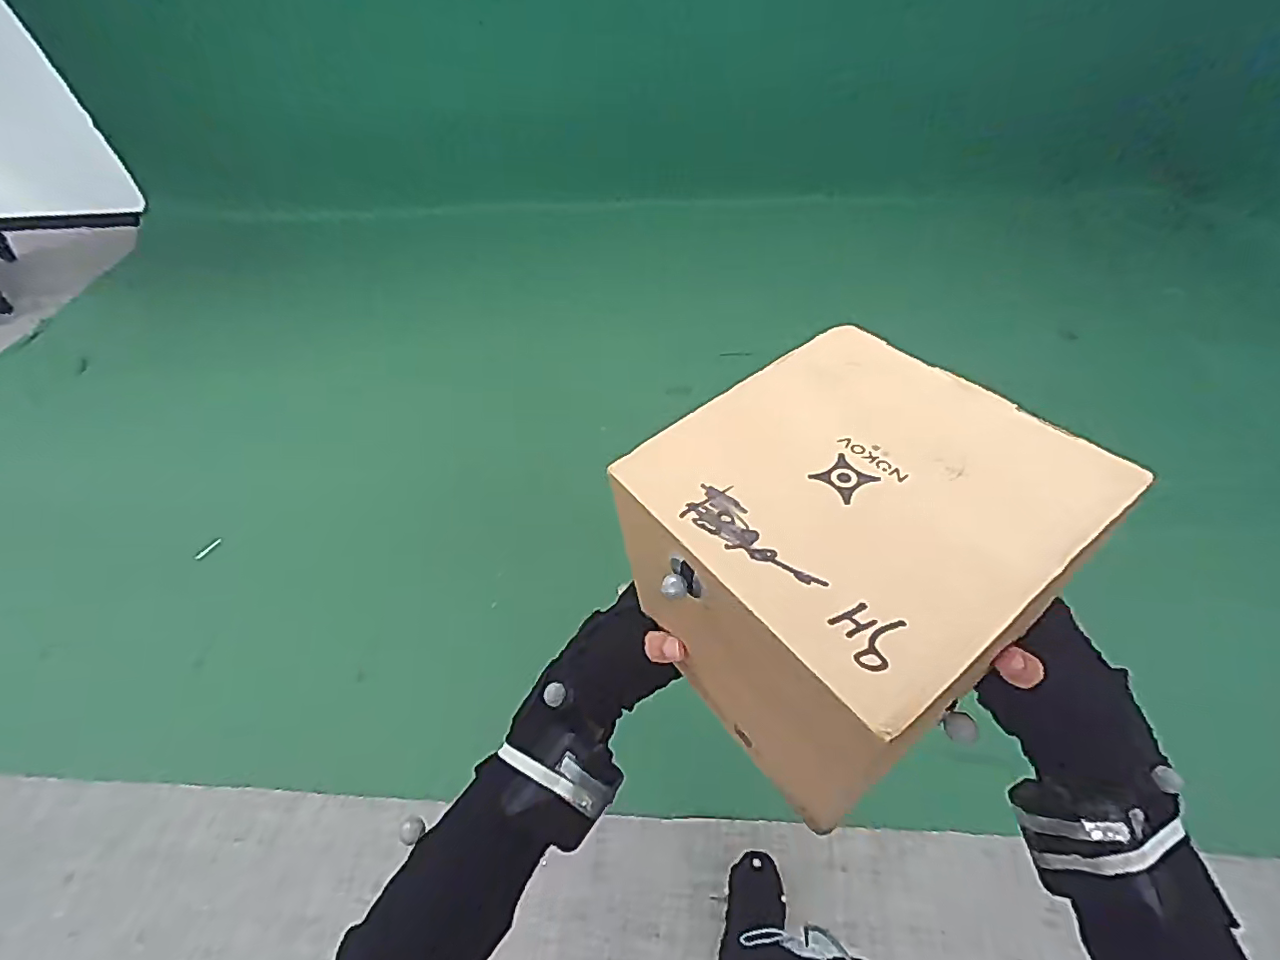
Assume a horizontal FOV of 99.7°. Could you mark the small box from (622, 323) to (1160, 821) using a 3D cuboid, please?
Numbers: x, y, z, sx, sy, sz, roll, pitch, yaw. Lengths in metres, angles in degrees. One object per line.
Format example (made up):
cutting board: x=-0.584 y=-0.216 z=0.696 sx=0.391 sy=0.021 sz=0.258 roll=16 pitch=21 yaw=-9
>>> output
small box: x=0.112 y=0.047 z=0.303 sx=0.179 sy=0.176 sz=0.168 roll=-31 pitch=50 yaw=-19
